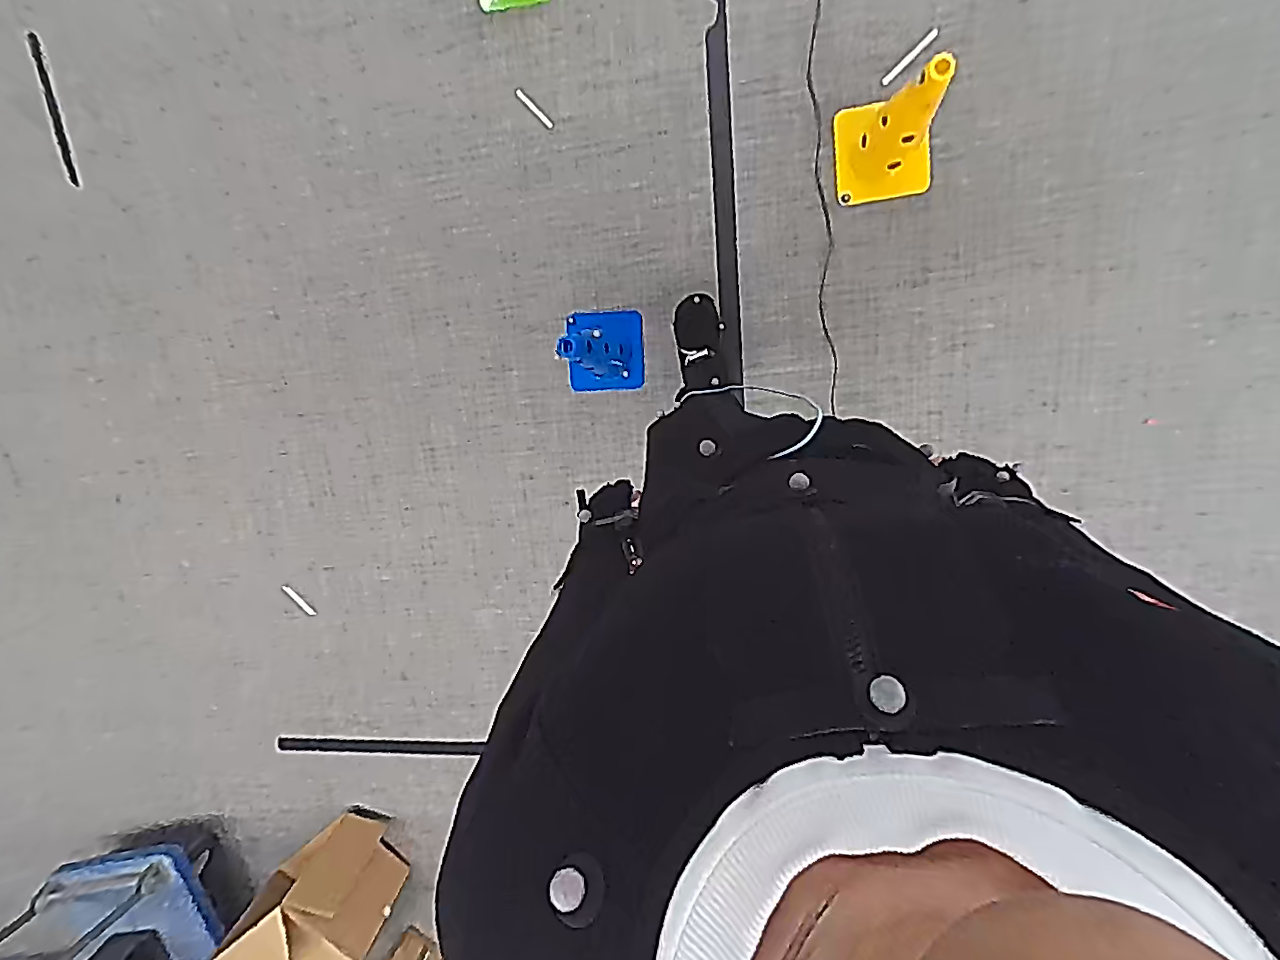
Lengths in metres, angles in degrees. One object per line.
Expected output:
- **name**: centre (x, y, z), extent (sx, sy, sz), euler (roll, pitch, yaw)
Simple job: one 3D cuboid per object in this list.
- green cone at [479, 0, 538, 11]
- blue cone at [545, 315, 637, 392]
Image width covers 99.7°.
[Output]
- **green cone**: centre (-0.320, -1.181, 1.084), extent (0.202, 0.368, 0.200), euler (-3, 101, 11)
- **blue cone**: centre (-0.130, -0.297, 1.250), extent (0.192, 0.380, 0.193), euler (1, 101, 10)
